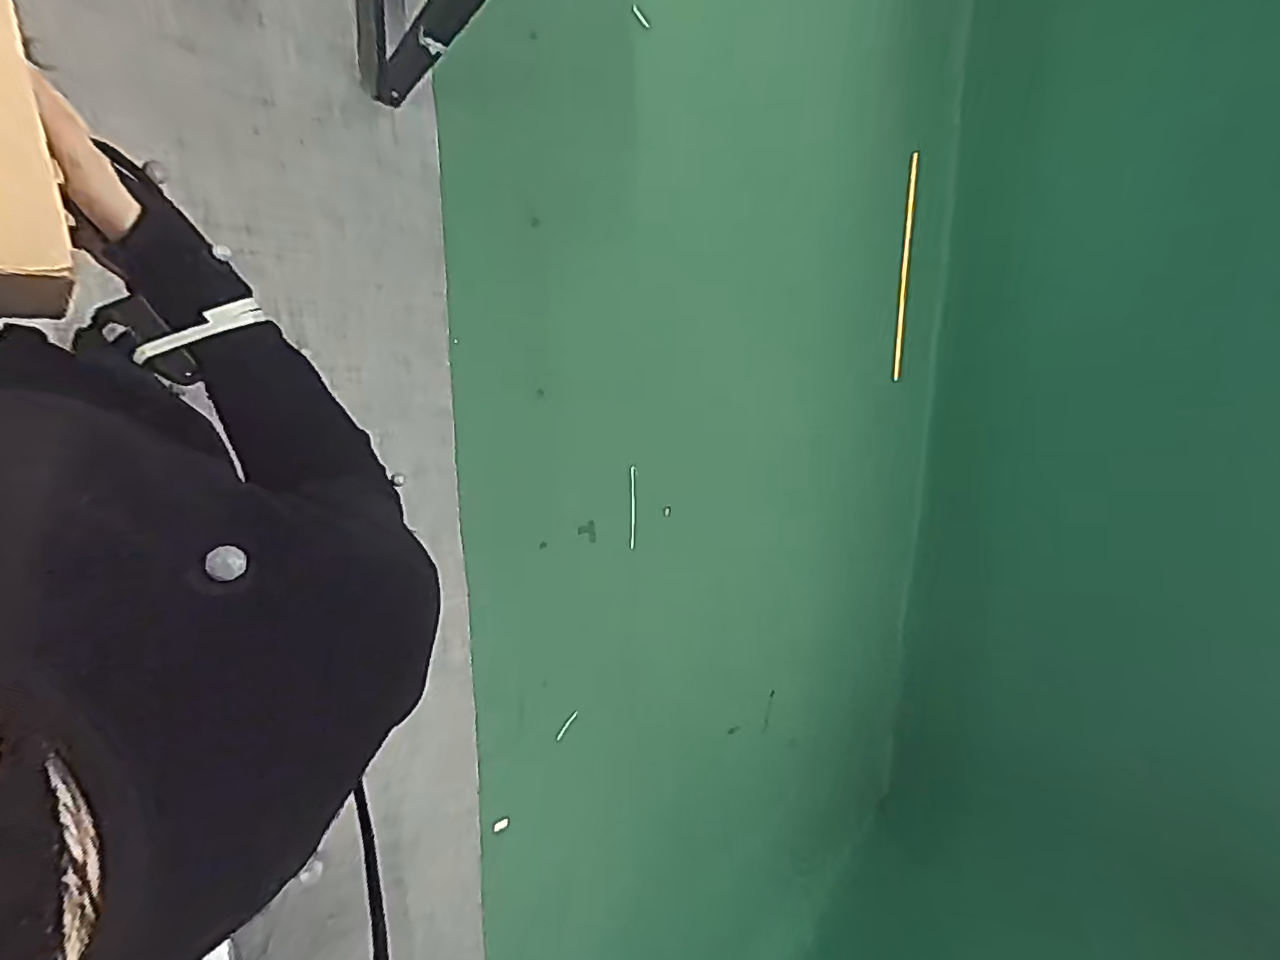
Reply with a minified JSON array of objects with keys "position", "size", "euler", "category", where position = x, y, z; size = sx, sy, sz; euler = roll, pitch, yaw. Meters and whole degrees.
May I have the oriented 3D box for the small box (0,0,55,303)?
[{"position":[-0.415,-0.192,0.251],"size":[0.168,0.176,0.179],"euler":[-14,103,-48],"category":"small box"}]
